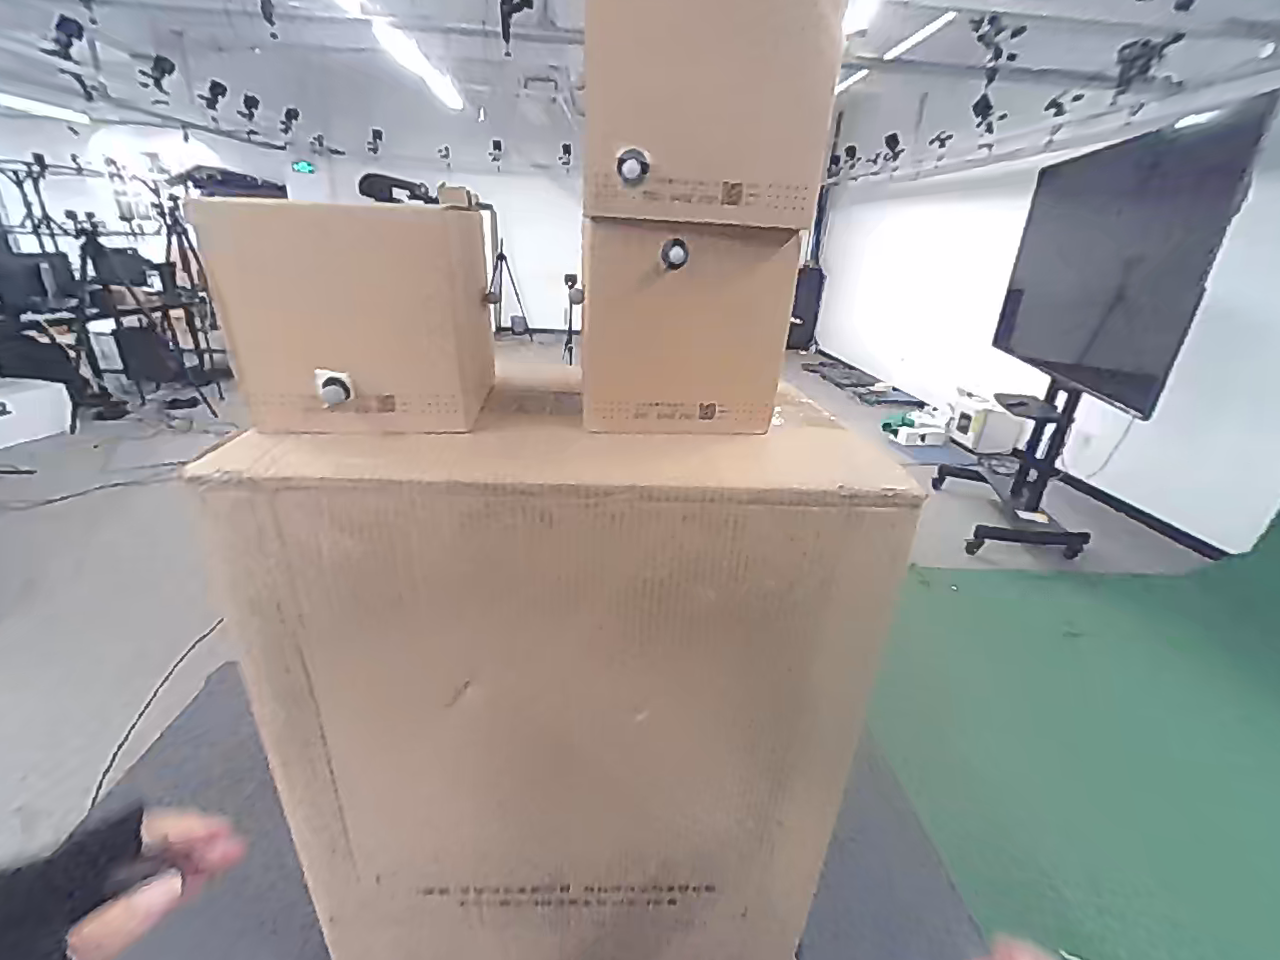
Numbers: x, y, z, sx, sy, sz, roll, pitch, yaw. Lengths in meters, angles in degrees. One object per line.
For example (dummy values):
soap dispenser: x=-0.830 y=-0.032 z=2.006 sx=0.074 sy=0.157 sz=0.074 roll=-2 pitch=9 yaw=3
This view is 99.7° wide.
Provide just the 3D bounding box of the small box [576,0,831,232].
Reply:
small box: x=0.038 y=-0.291 z=0.427 sx=0.168 sy=0.176 sz=0.179 roll=1 pitch=25 yaw=-3

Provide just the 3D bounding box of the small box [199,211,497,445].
small box: x=-0.224 y=-0.139 z=0.475 sx=0.168 sy=0.176 sz=0.179 roll=-3 pitch=27 yaw=-6

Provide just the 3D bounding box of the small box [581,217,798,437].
small box: x=0.028 y=-0.148 z=0.510 sx=0.168 sy=0.176 sz=0.179 roll=-1 pitch=25 yaw=-7
